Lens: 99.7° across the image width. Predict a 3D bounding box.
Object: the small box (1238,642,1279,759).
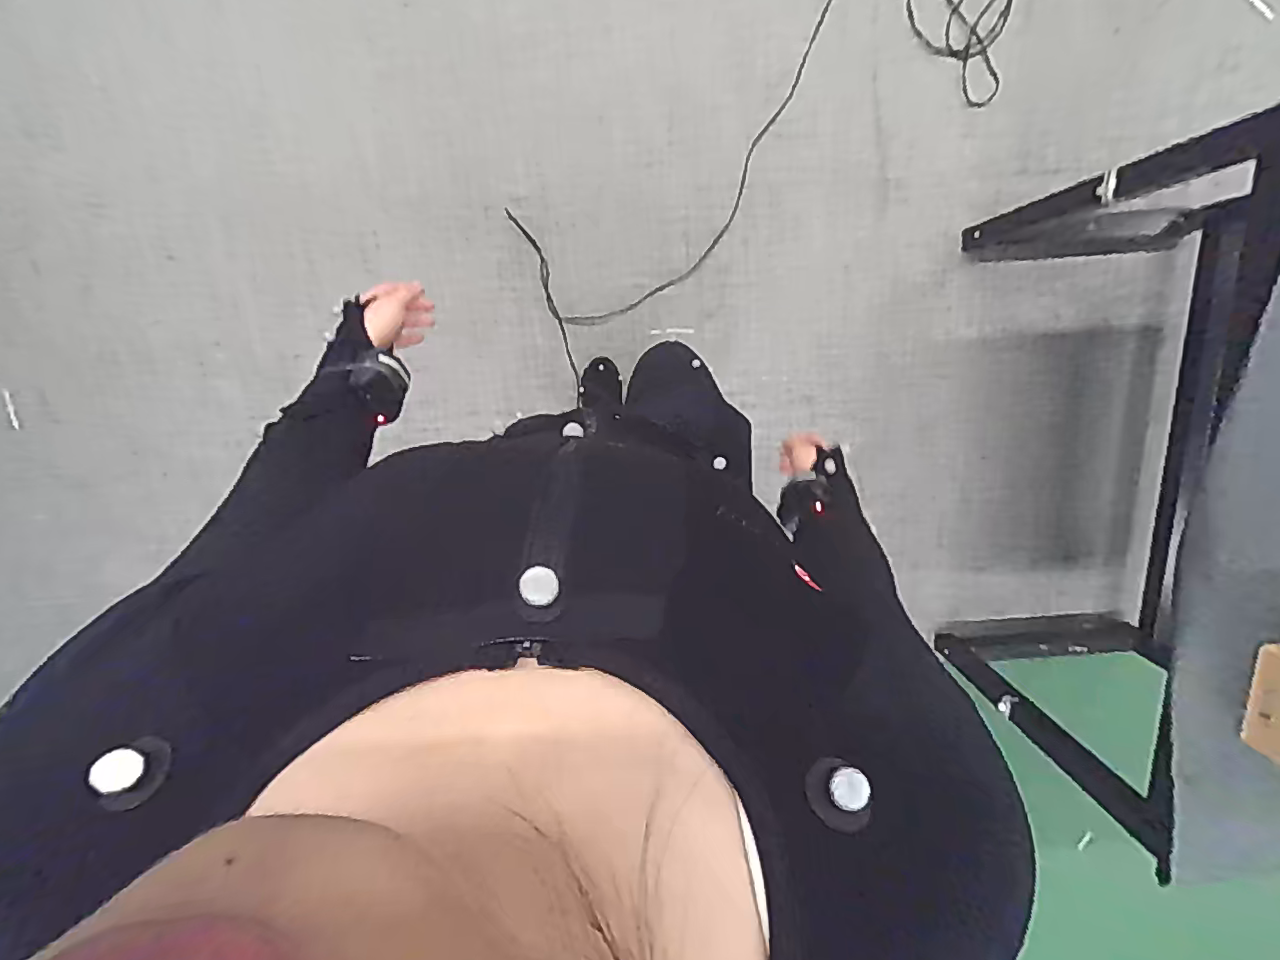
[{"bbox_3d":[1.011,0.334,0.751,0.179,0.176,0.168,-4,103,-2],"label":"small box"}]
